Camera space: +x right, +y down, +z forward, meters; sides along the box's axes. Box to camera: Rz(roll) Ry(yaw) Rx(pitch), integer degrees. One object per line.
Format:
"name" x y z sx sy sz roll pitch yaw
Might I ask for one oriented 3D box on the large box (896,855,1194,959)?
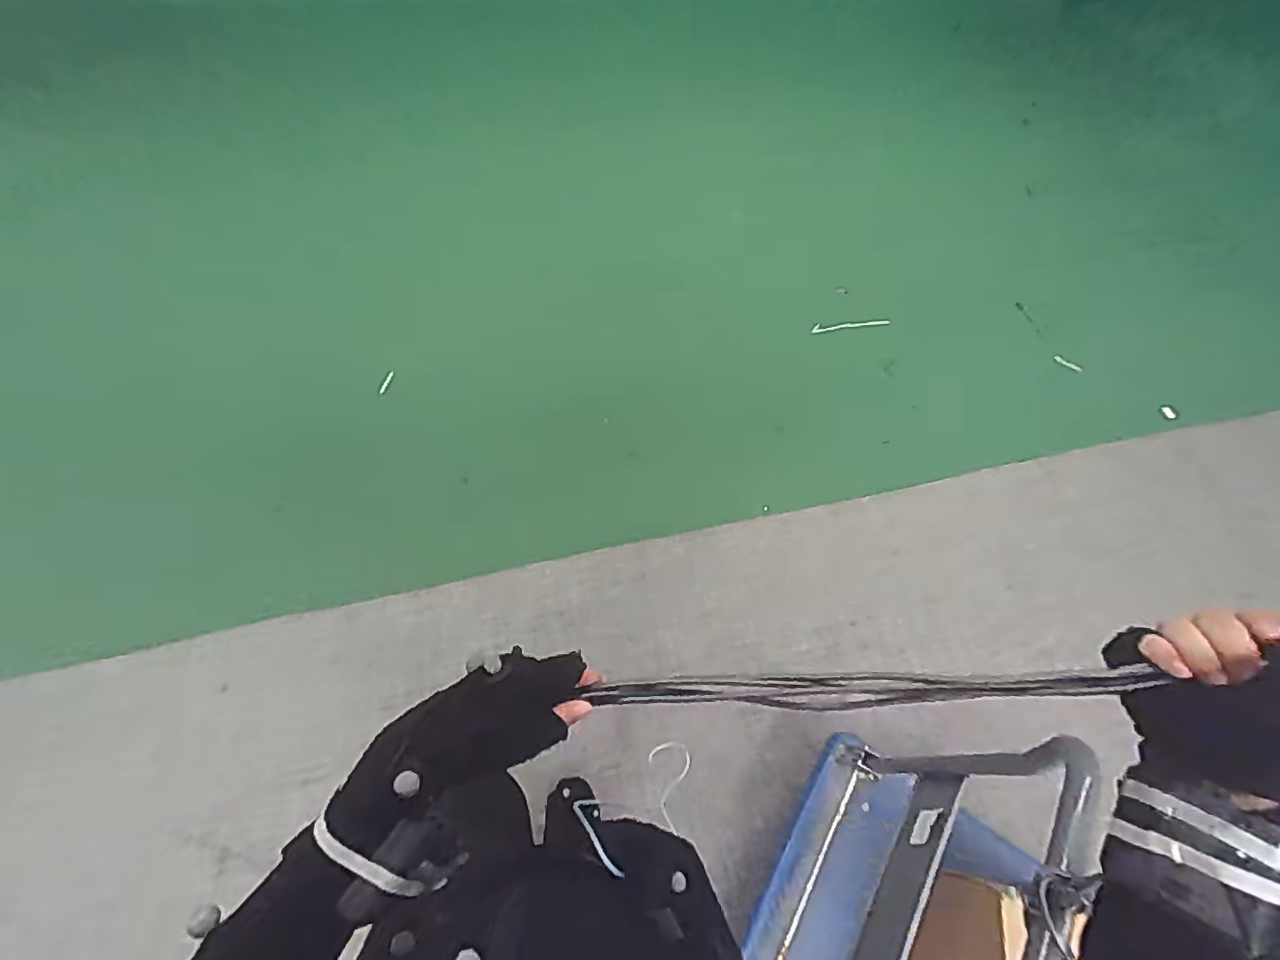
"large box" 0.633 0.887 0.862 0.320 0.320 0.408 13 61 1
